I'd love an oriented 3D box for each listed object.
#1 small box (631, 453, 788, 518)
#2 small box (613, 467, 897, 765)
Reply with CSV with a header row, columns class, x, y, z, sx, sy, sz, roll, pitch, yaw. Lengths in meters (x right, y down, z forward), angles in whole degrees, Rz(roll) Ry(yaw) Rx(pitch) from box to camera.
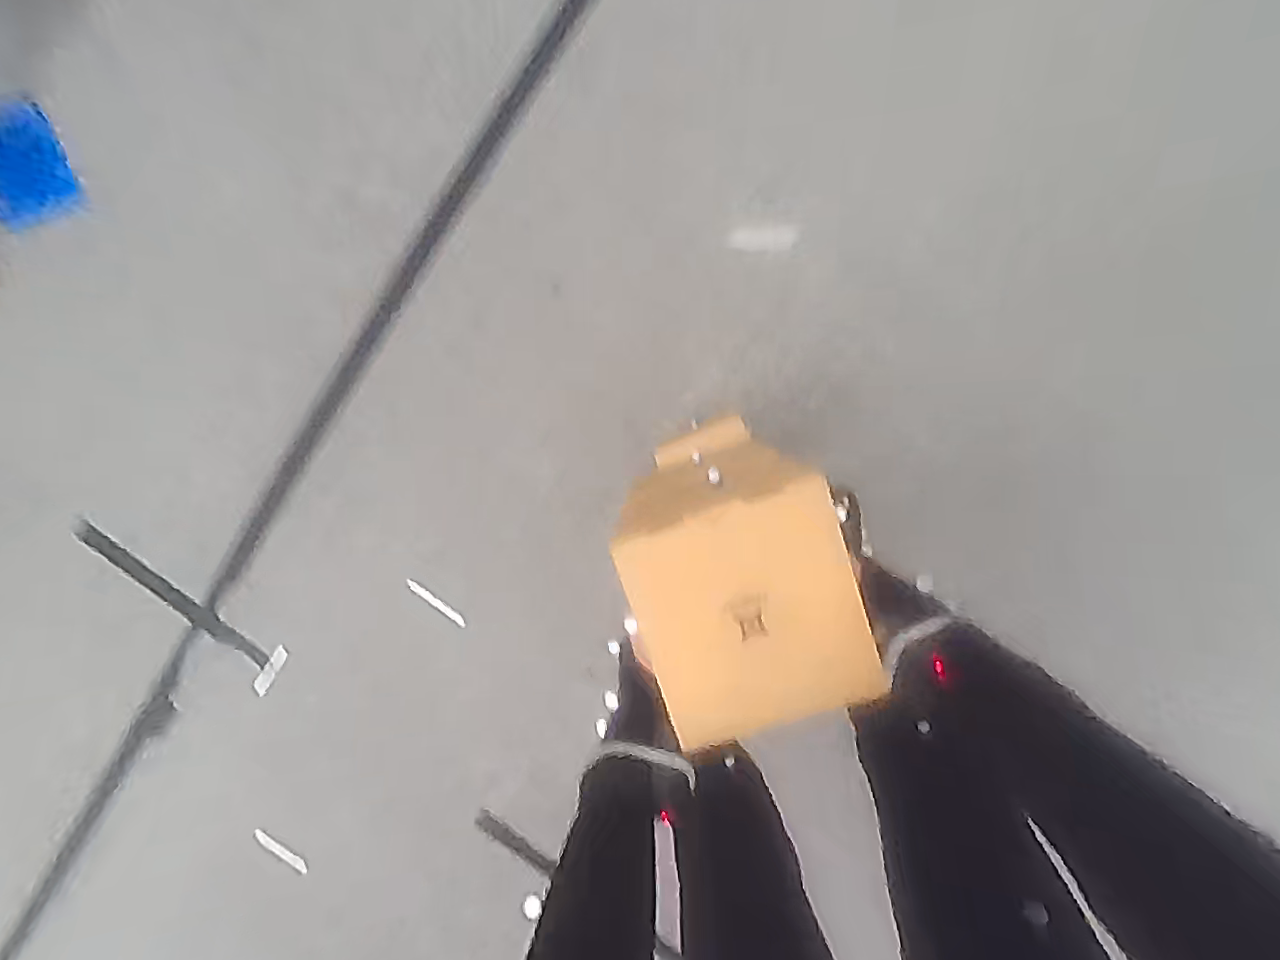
class,x,y,z,sx,sy,sz,roll,pitch,yaw
small box,0.095,0.073,0.631,0.168,0.176,0.179,-19,97,5
small box,0.089,0.100,0.470,0.168,0.176,0.179,-19,95,5
